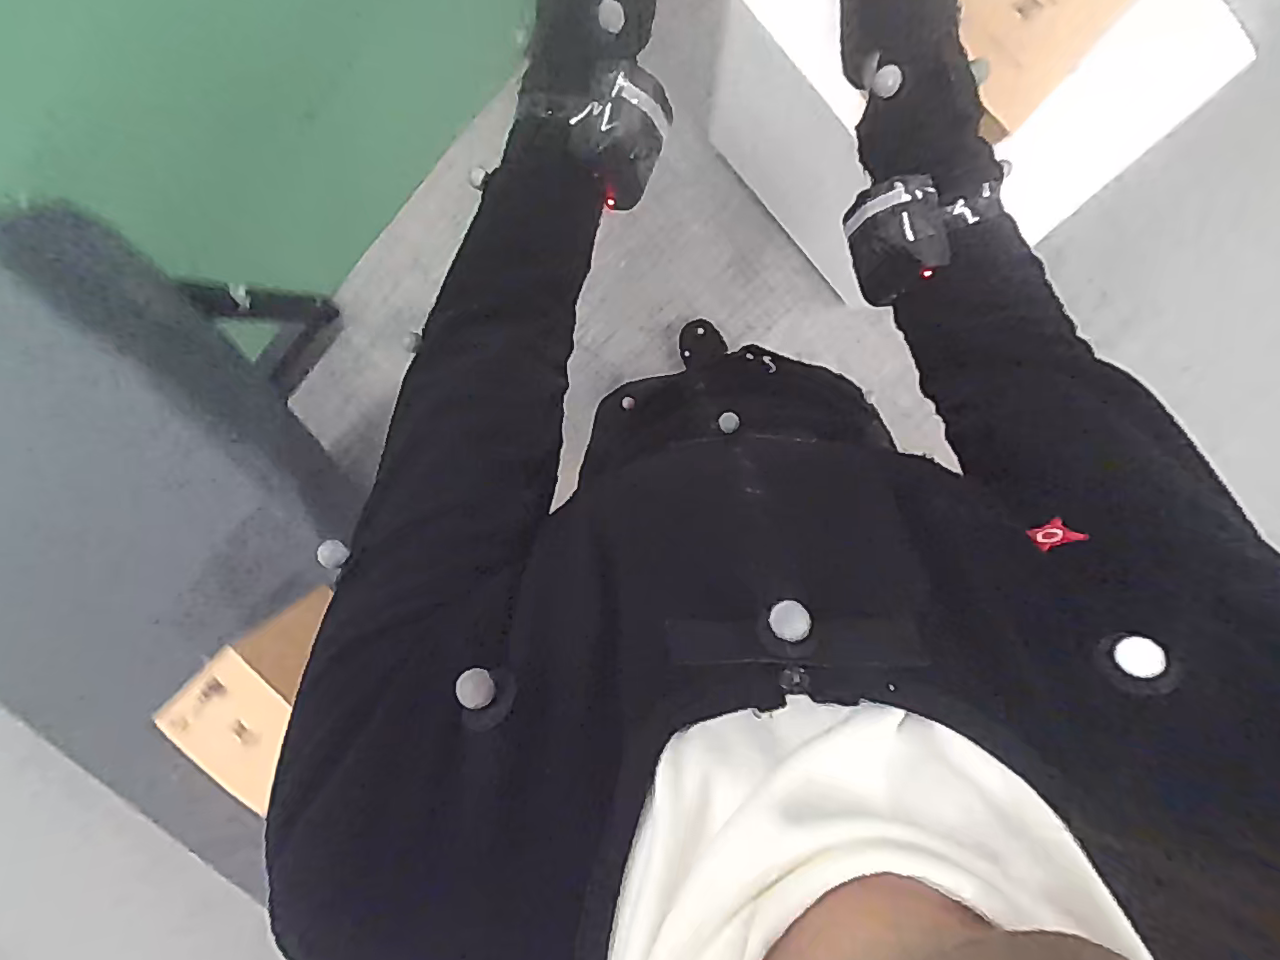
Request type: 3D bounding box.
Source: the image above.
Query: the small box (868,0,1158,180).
[{"bbox_3d":[0.390,-0.479,0.600,0.168,0.176,0.179,42,105,-5],"label":"small box"}]

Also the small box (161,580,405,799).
[{"bbox_3d":[-0.458,0.269,0.724,0.168,0.176,0.179,-39,98,14],"label":"small box"}]
